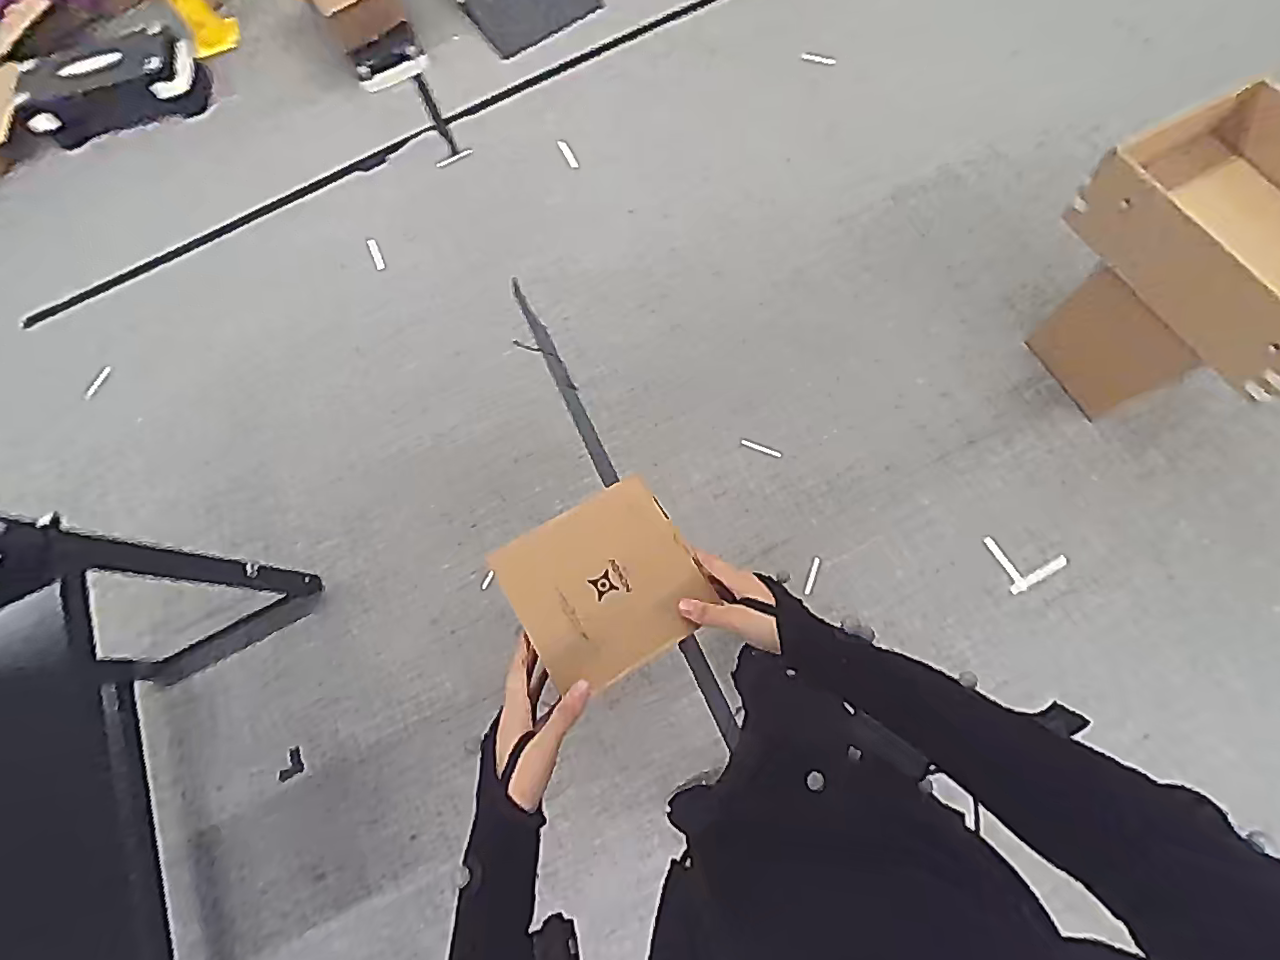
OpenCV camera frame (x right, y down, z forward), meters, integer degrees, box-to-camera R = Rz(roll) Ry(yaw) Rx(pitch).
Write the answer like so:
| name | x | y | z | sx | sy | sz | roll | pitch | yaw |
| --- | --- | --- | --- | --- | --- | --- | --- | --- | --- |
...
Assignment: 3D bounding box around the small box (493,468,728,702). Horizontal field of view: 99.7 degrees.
| name | x | y | z | sx | sy | sz | roll | pitch | yaw |
| --- | --- | --- | --- | --- | --- | --- | --- | --- | --- |
| small box | -0.036 | 0.117 | 0.588 | 0.179 | 0.176 | 0.168 | -28 | 75 | -15 |
